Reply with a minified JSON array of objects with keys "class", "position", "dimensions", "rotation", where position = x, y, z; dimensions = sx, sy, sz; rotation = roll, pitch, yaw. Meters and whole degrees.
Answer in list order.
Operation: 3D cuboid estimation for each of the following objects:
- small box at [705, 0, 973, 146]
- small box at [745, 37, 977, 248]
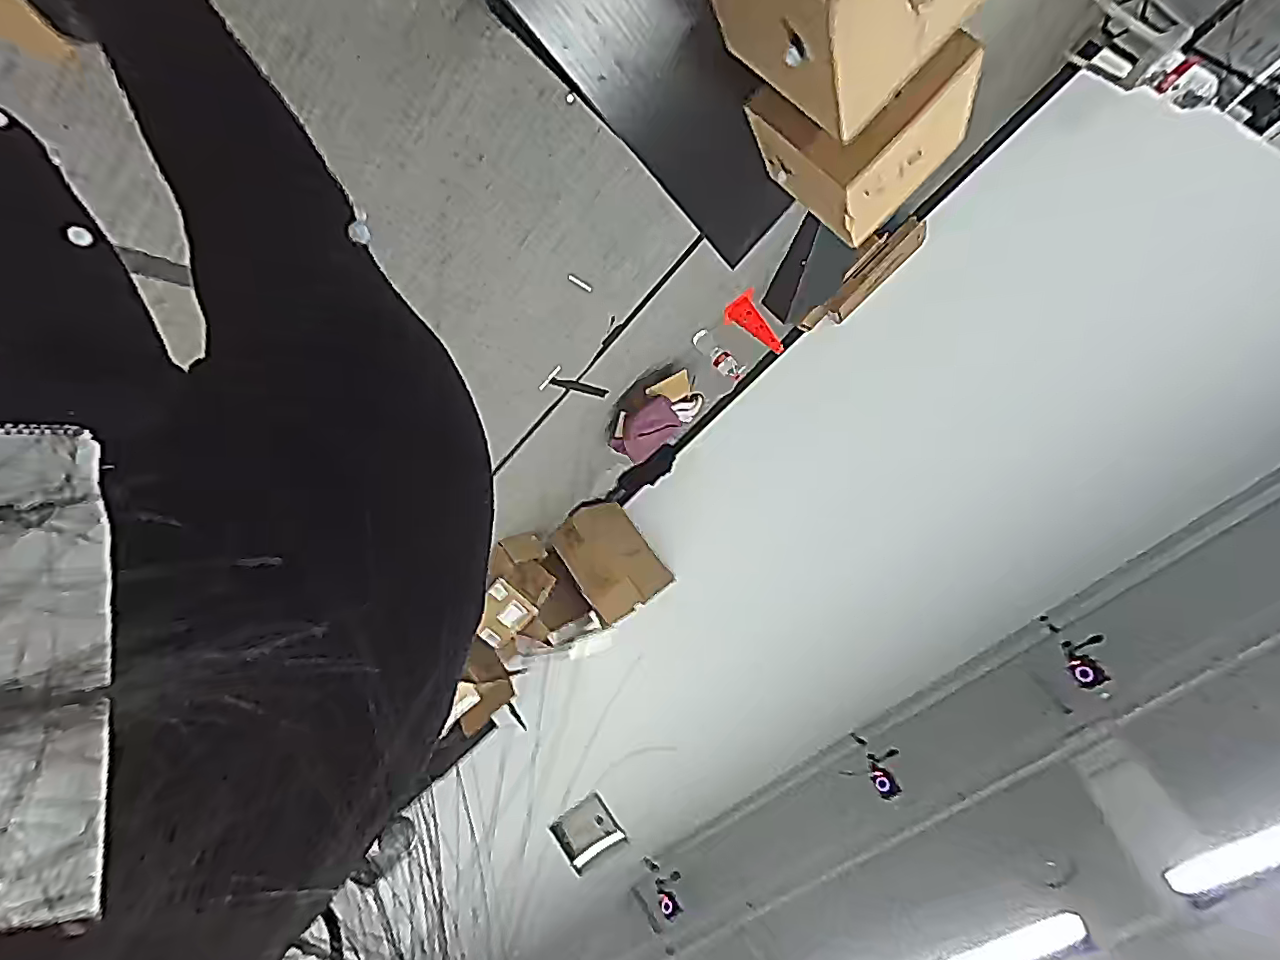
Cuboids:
[{"class":"small box","position":[0.156,-0.425,0.428],"dimensions":[0.168,0.176,0.179],"rotation":[-44,165,18]},{"class":"small box","position":[0.257,-0.429,0.652],"dimensions":[0.179,0.176,0.168],"rotation":[-45,163,18]}]
